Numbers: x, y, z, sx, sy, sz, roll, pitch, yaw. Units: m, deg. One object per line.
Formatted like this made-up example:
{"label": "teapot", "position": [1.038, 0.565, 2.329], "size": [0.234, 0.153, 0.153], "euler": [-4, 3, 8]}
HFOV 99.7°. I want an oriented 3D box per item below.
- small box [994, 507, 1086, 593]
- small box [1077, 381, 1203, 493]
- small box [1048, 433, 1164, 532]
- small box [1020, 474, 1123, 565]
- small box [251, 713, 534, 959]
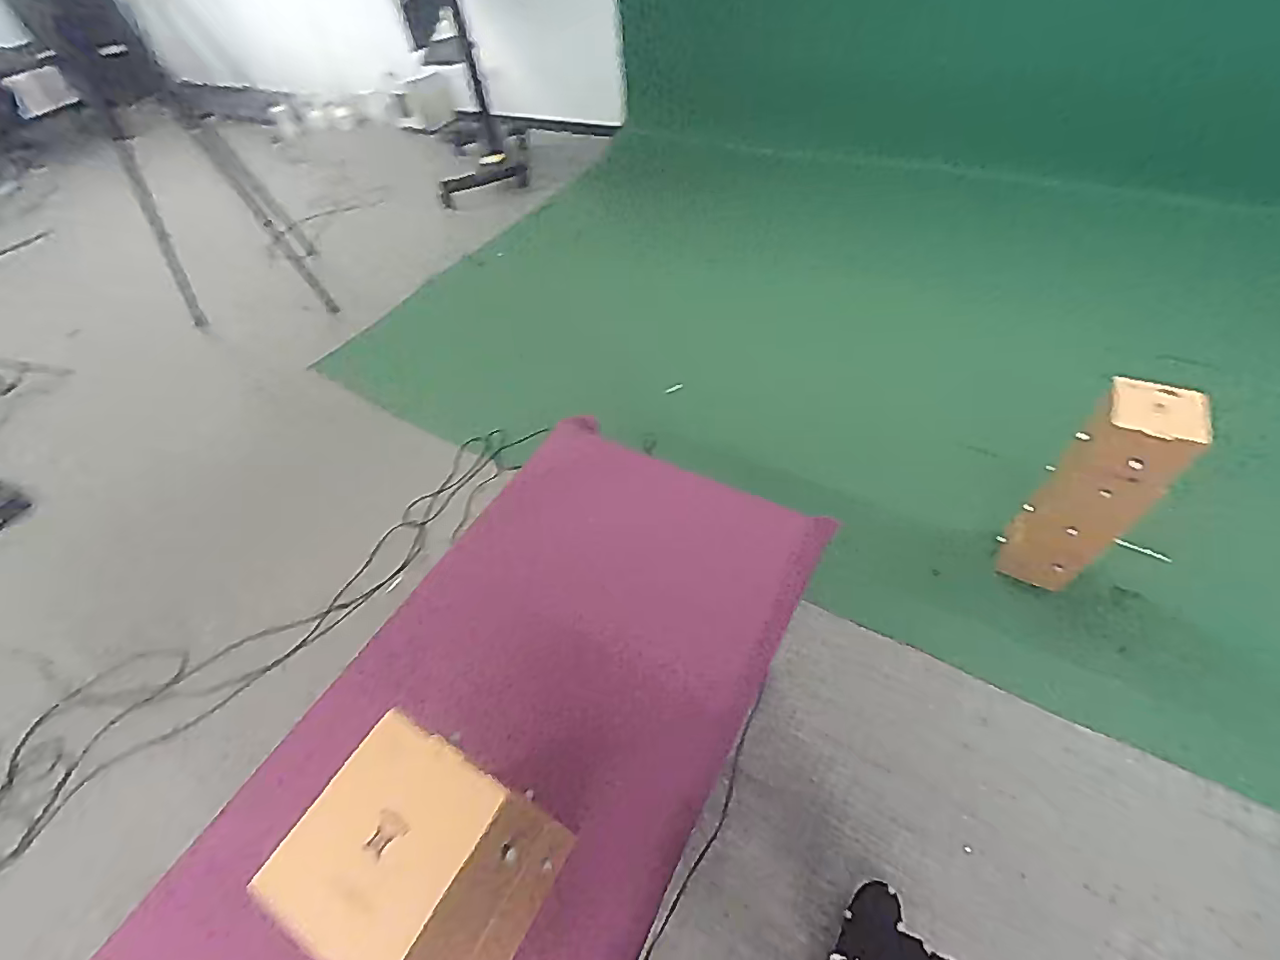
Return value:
{"label": "small box", "position": [1.217, 0.217, 1.639], "size": [0.179, 0.176, 0.168], "euler": [22, 57, 24]}
{"label": "small box", "position": [1.163, -0.097, 1.268], "size": [0.168, 0.176, 0.179], "euler": [20, 57, 23]}
{"label": "small box", "position": [1.187, 0.009, 1.390], "size": [0.179, 0.176, 0.168], "euler": [18, 56, 21]}
{"label": "small box", "position": [1.206, 0.115, 1.514], "size": [0.179, 0.176, 0.168], "euler": [19, 56, 23]}
{"label": "small box", "position": [-0.227, 0.381, 0.553], "size": [0.168, 0.176, 0.179], "euler": [21, 56, 24]}
